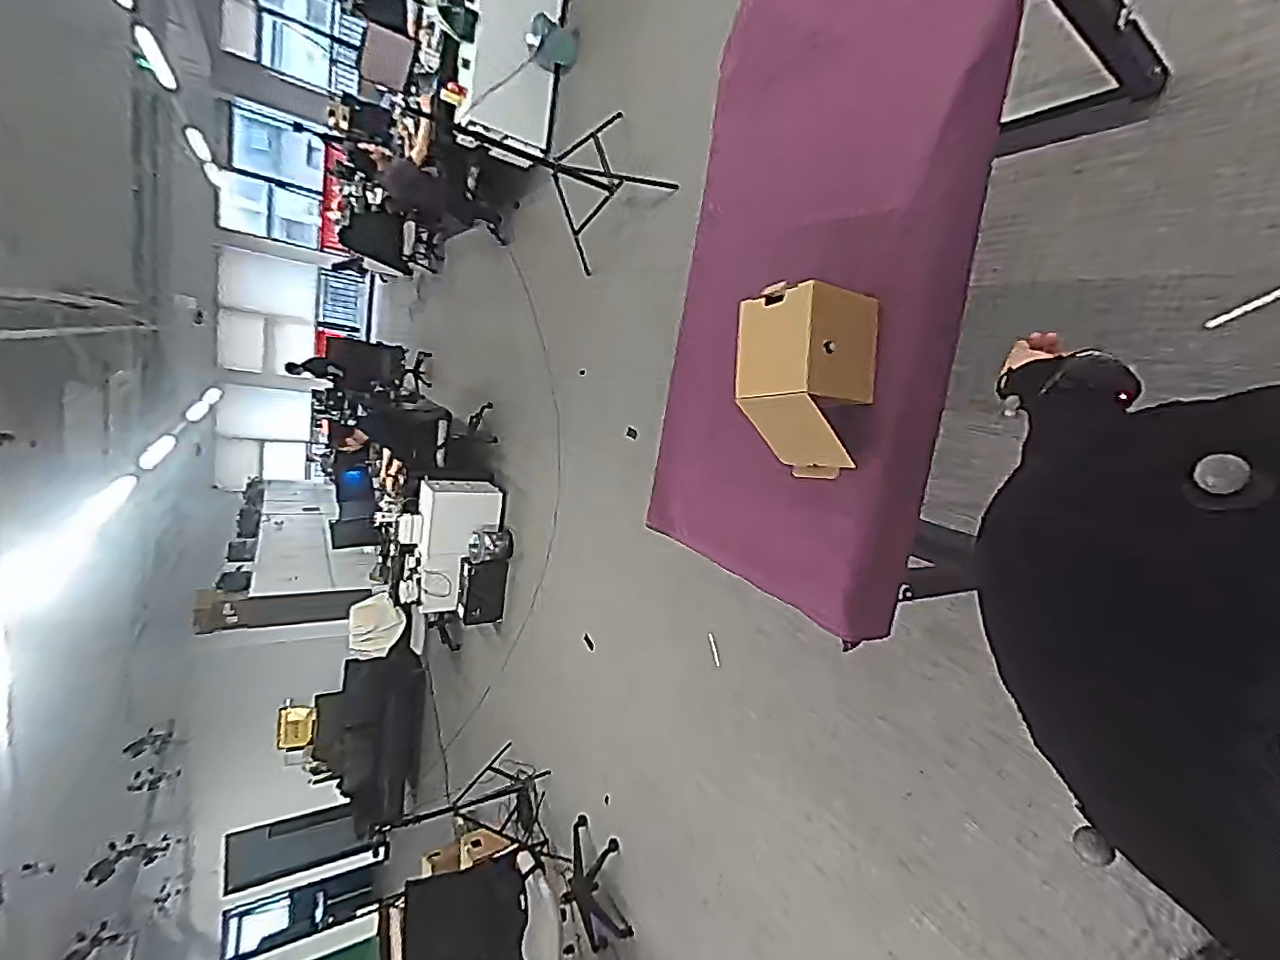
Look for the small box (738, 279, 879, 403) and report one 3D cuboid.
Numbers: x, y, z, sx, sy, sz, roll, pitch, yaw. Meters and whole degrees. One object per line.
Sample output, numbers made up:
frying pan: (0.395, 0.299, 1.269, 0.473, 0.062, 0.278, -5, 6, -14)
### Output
small box: (0.291, -0.227, 0.937, 0.168, 0.176, 0.179, 7, 95, 58)
